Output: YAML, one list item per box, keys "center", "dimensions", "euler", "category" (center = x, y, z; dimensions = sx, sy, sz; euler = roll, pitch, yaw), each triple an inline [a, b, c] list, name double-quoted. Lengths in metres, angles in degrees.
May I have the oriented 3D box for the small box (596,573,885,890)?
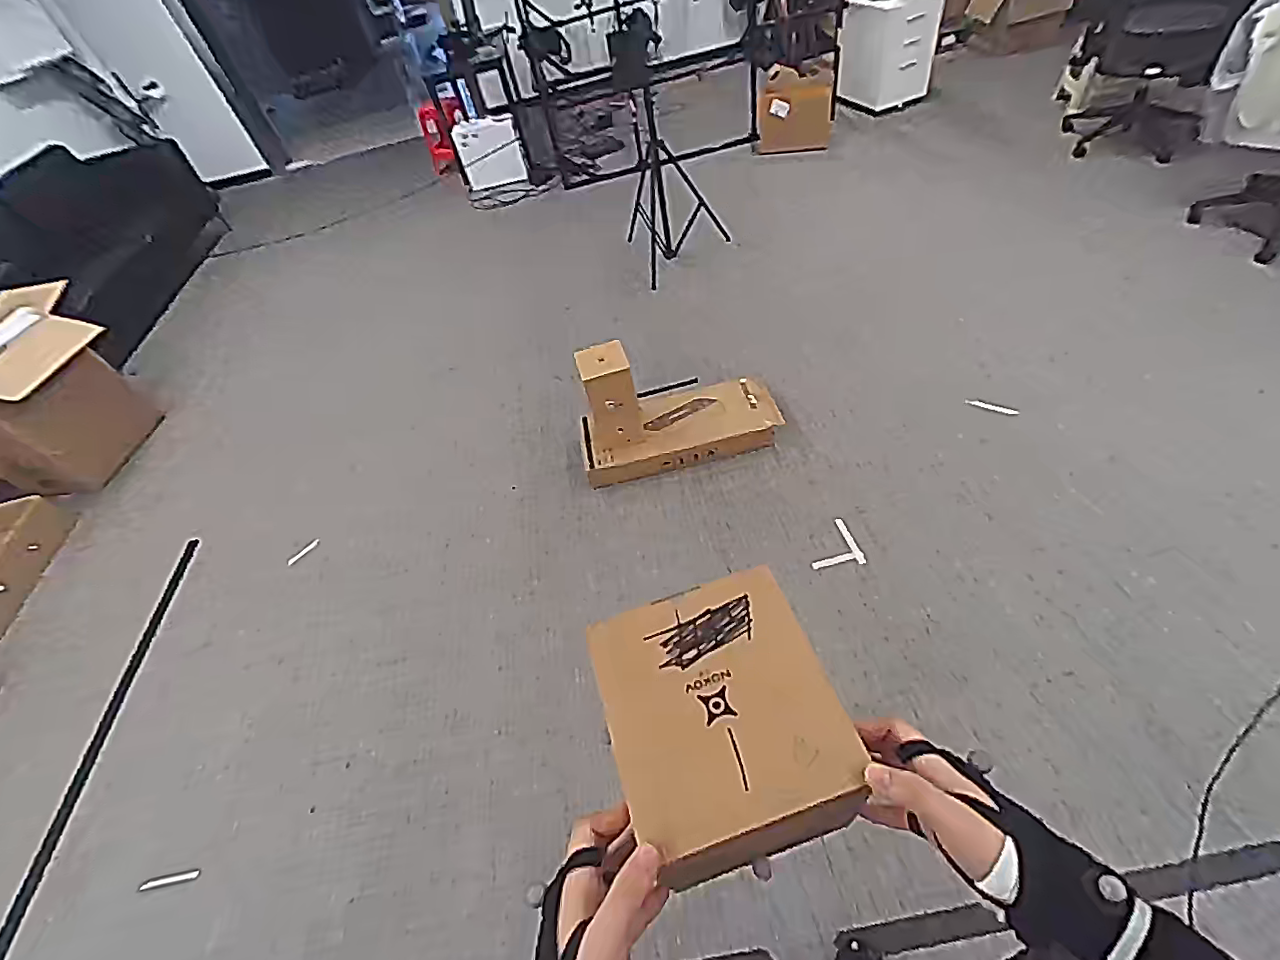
- center: [0.073, 0.215, 0.461]
  dimensions: [0.168, 0.176, 0.179]
  euler: [-19, 49, -4]
  category: "small box"

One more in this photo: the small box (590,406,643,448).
- center: [-0.088, -0.235, 1.982]
  dimensions: [0.168, 0.176, 0.179]
  euler: [-12, 49, 1]
  category: "small box"

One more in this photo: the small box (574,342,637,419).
- center: [-0.118, -0.339, 1.861]
  dimensions: [0.168, 0.176, 0.179]
  euler: [-18, 48, -3]
  category: "small box"
